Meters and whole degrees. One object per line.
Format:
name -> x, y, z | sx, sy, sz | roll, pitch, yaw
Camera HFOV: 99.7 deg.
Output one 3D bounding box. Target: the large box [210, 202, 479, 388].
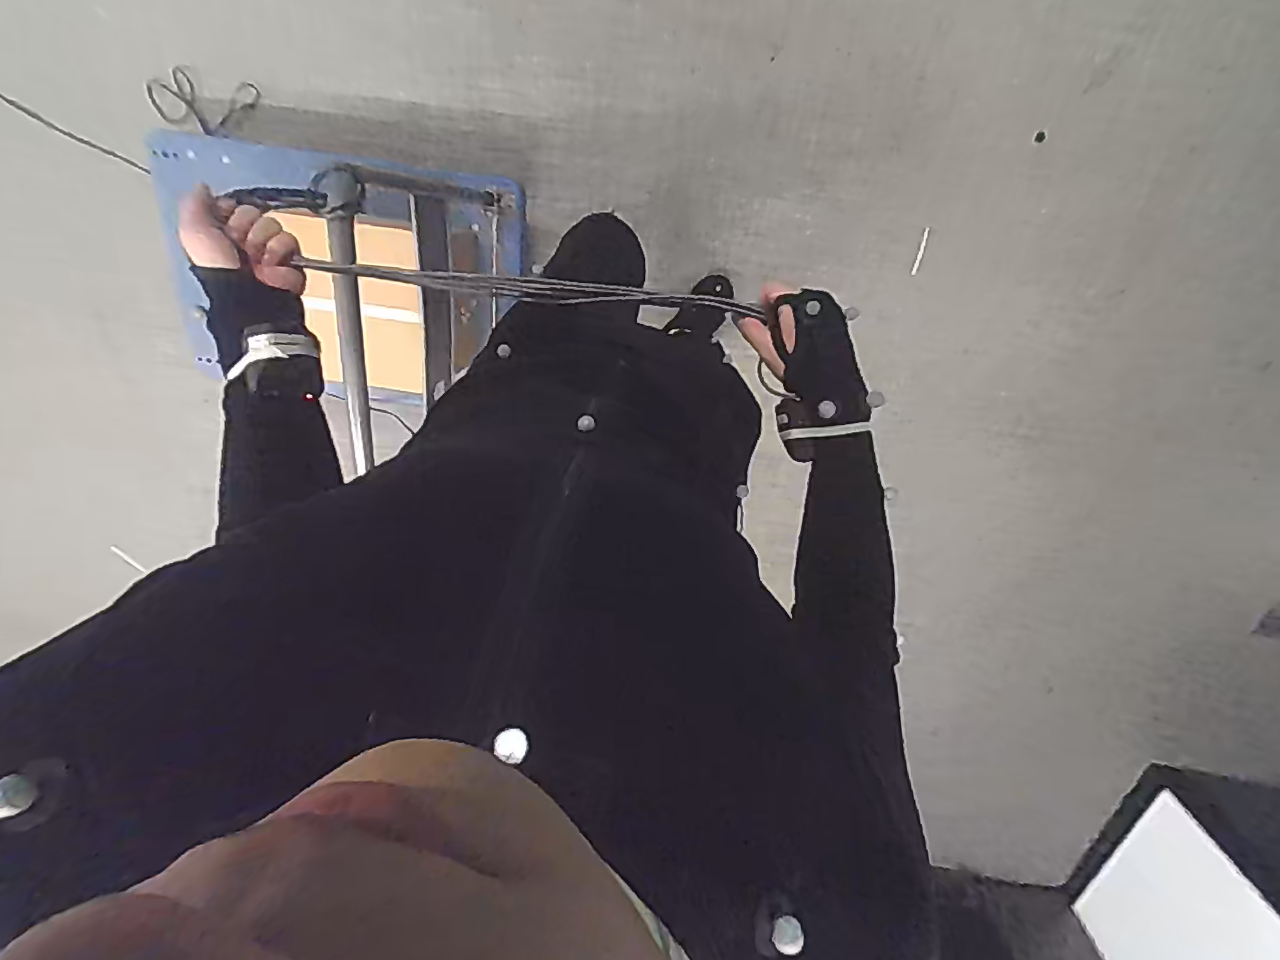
large box -> -0.601, -0.414, 1.188 | 0.408, 0.320, 0.320 | 8, 115, 1
